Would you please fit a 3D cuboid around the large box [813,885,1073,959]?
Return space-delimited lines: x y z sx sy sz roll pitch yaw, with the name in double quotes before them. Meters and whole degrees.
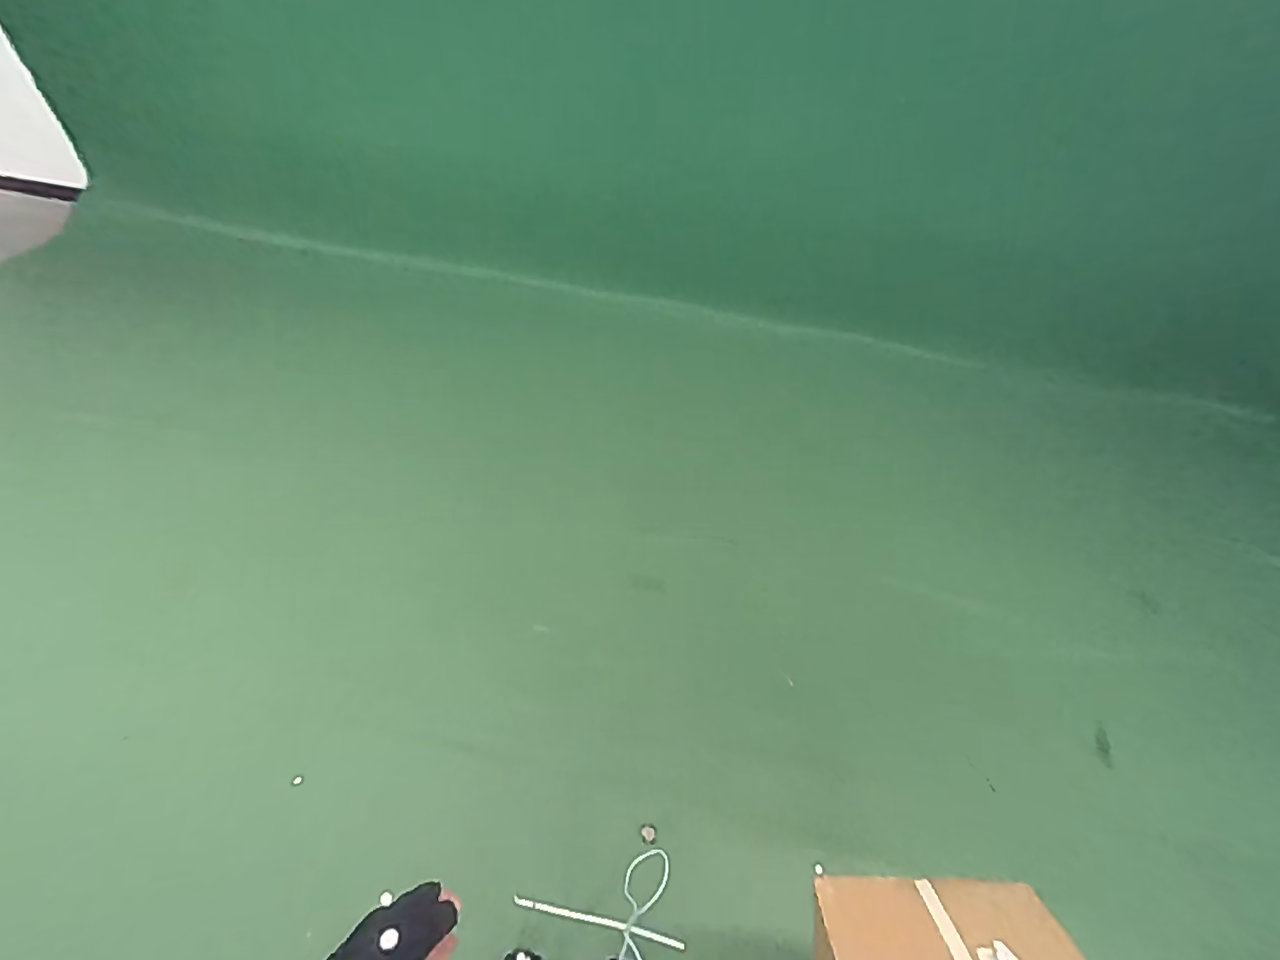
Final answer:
"large box" 0.405 0.777 0.623 0.320 0.408 0.320 -1 93 5
